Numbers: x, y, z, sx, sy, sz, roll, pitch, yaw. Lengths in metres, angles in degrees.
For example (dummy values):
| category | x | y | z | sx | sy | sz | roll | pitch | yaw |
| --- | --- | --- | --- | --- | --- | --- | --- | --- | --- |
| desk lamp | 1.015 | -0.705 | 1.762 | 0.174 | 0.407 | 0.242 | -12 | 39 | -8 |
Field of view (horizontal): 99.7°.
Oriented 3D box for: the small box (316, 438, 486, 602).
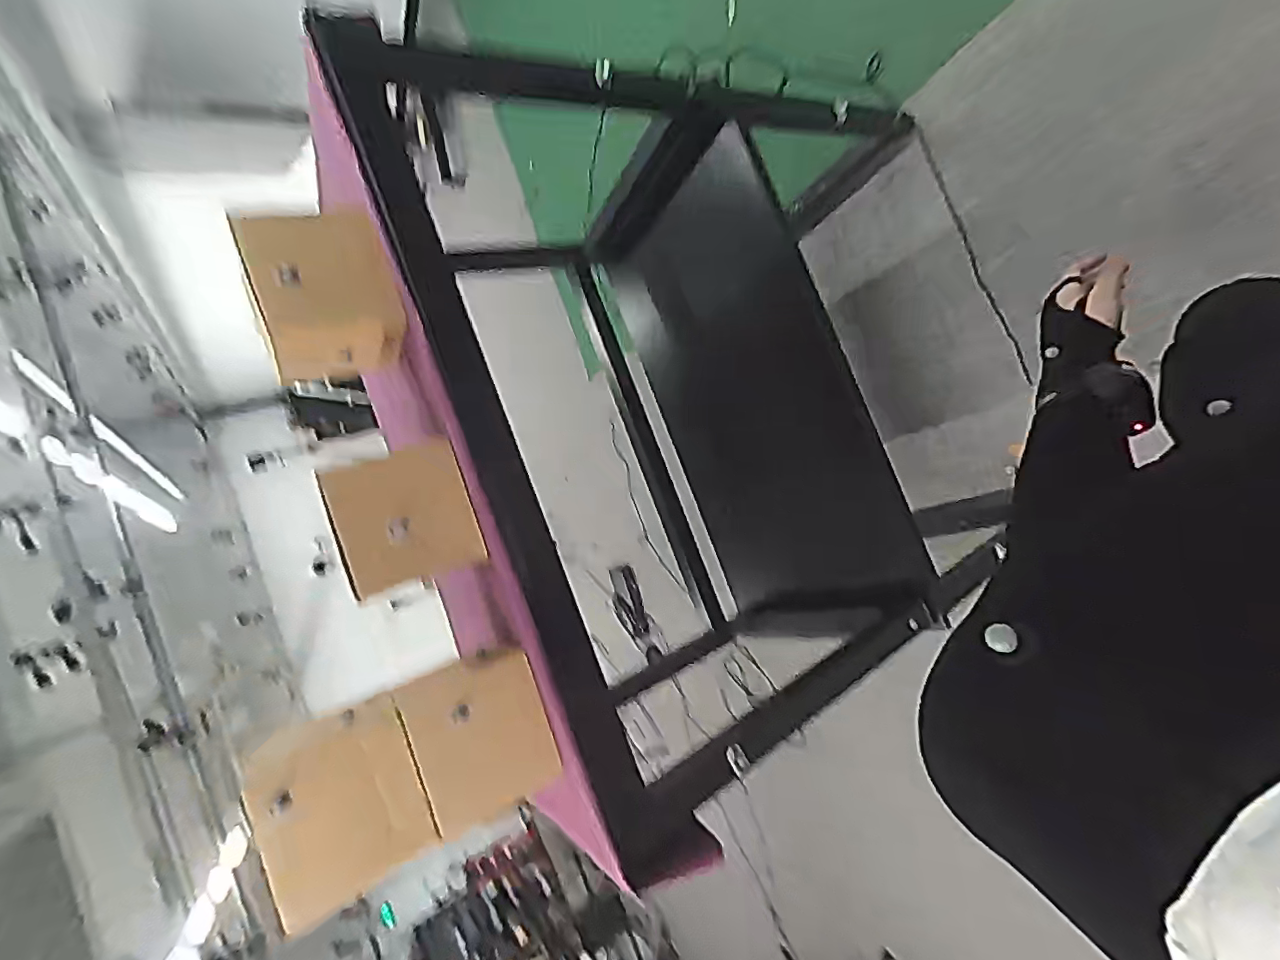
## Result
| category | x | y | z | sx | sy | sz | roll | pitch | yaw |
| --- | --- | --- | --- | --- | --- | --- | --- | --- | --- |
| small box | -0.336 | 0.058 | 0.768 | 0.168 | 0.176 | 0.179 | -22 | 88 | 60 |

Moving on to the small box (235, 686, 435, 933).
| category | x | y | z | sx | sy | sz | roll | pitch | yaw |
| --- | --- | --- | --- | --- | --- | --- | --- | --- | --- |
| small box | -0.371 | 0.389 | 0.679 | 0.168 | 0.176 | 0.179 | -19 | 88 | 60 |

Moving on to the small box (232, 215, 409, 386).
| category | x | y | z | sx | sy | sz | roll | pitch | yaw |
| --- | --- | --- | --- | --- | --- | --- | --- | --- | --- |
| small box | -0.449 | -0.259 | 0.779 | 0.168 | 0.176 | 0.179 | -27 | 83 | 58 |
